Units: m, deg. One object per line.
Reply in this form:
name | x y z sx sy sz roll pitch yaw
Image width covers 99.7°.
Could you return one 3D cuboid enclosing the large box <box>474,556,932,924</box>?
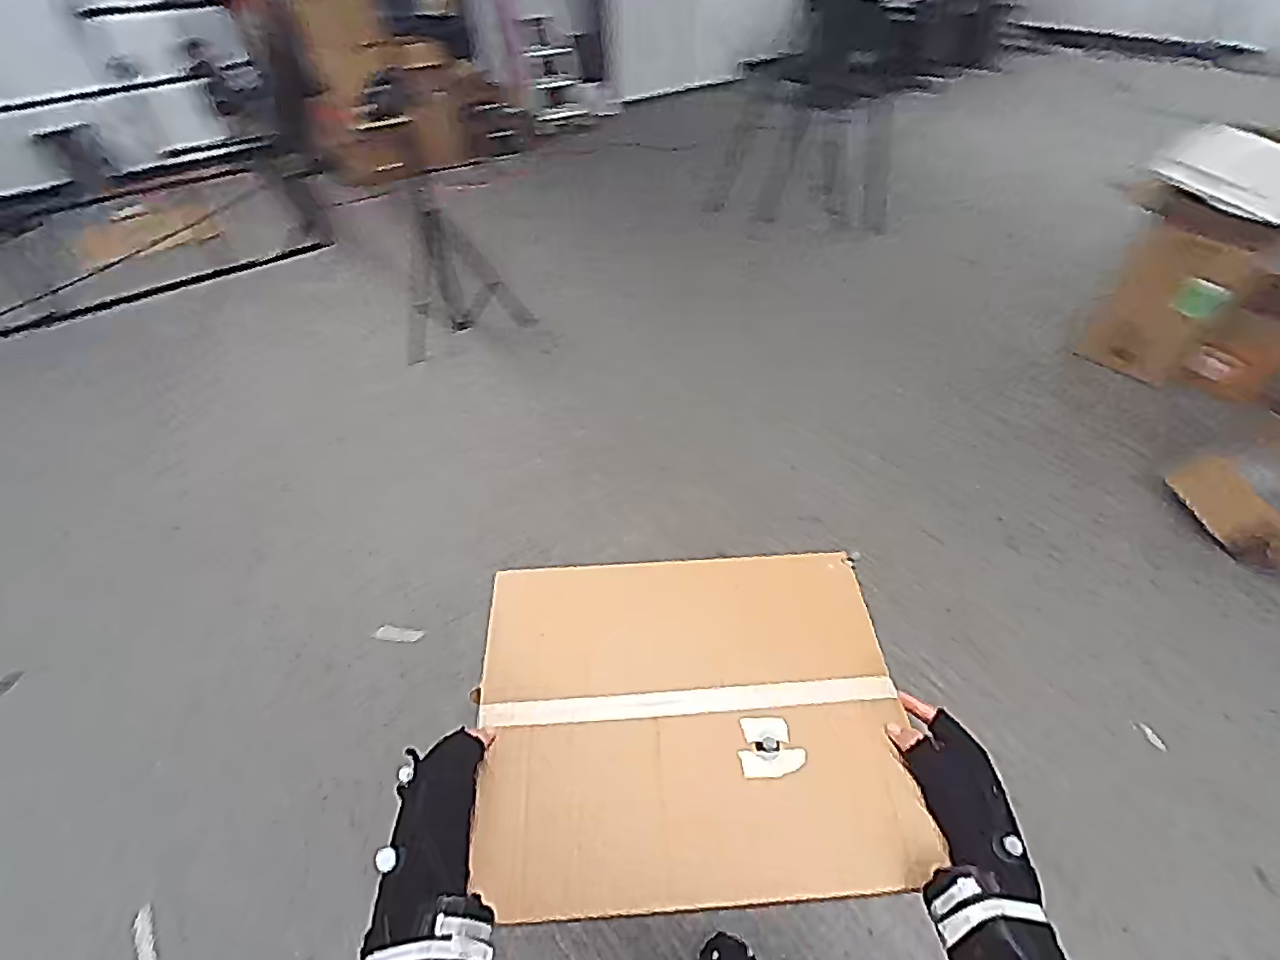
large box | 0.041 0.317 0.661 0.408 0.320 0.320 -4 53 -4
